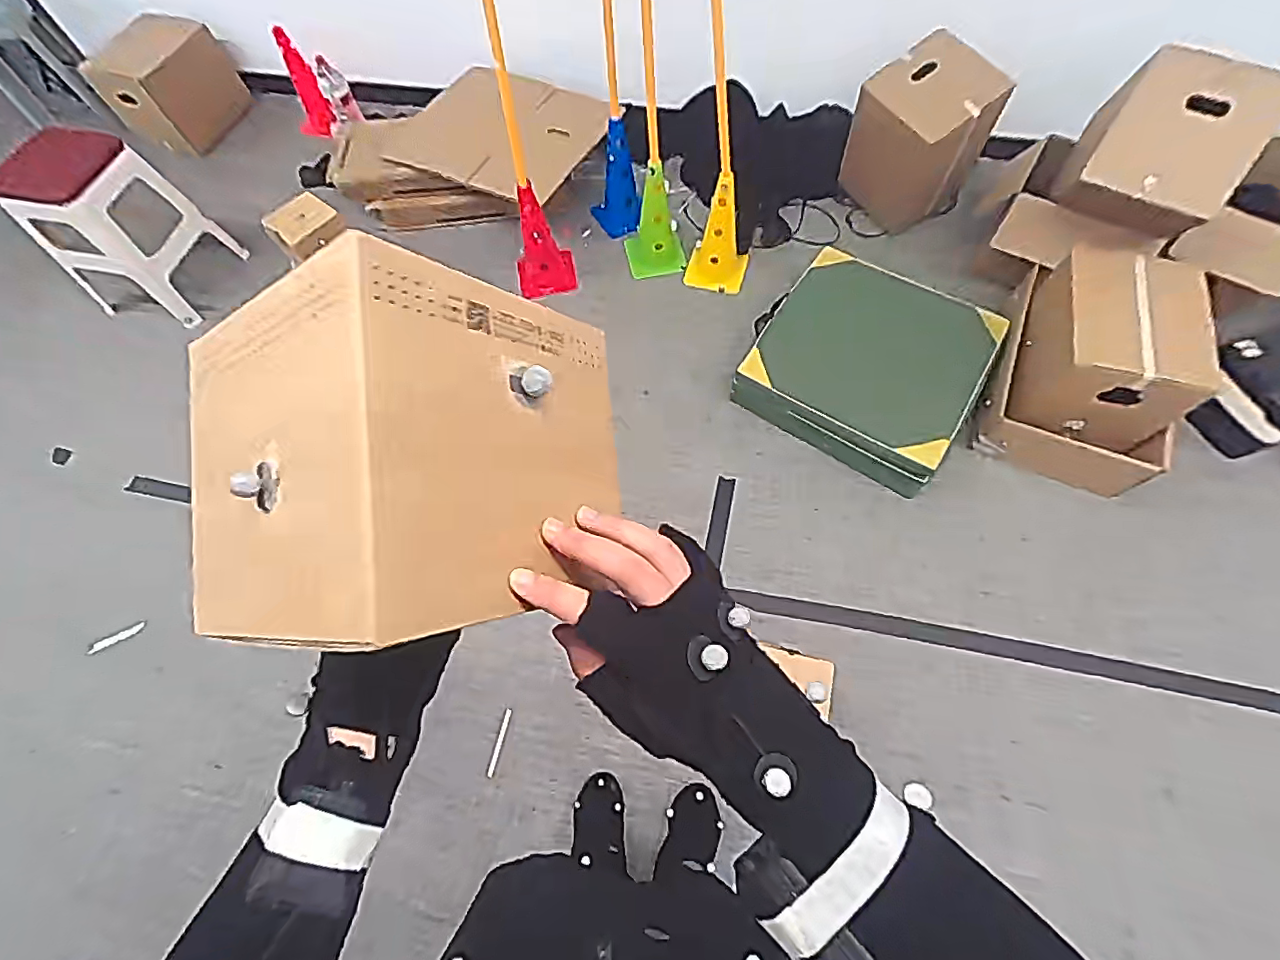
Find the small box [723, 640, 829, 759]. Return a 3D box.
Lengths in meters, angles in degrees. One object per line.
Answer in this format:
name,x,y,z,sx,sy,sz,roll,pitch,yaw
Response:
small box,0.268,0.445,1.095,0.168,0.176,0.179,13,67,9

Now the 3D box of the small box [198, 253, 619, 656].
small box,-0.133,-0.003,0.323,0.179,0.168,0.176,-10,84,33
